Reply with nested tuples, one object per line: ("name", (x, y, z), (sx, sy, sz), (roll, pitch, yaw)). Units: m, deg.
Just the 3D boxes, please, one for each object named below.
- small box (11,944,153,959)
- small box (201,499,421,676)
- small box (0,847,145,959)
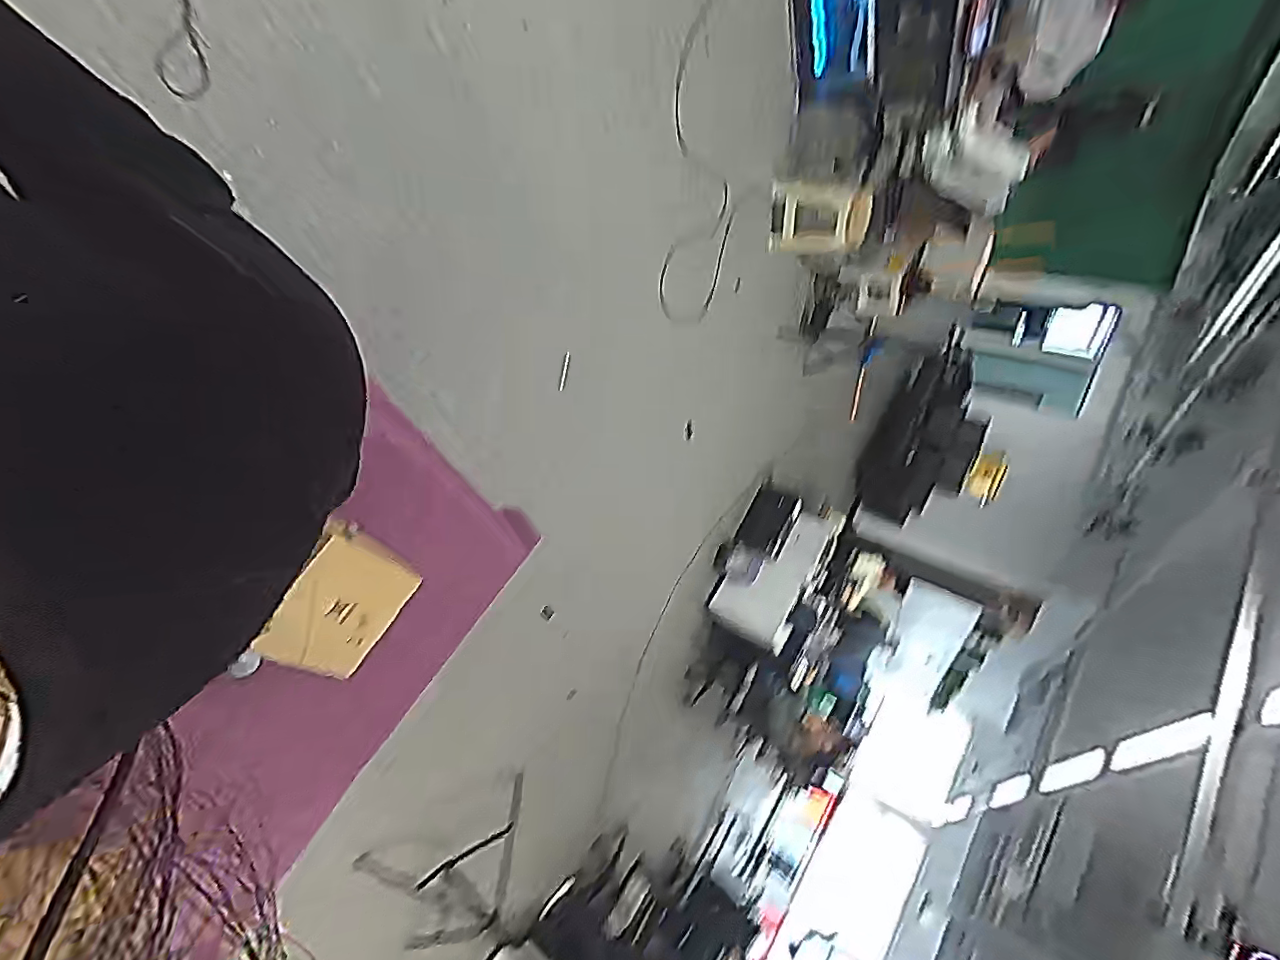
("small box", (-0.618, 0.614, 0.538), (0.168, 0.176, 0.179), (-54, 146, -20))
("small box", (-0.464, 0.147, 0.770), (0.168, 0.176, 0.179), (-56, 148, -16))
("small box", (-0.748, 0.556, 0.620), (0.168, 0.176, 0.179), (-54, 147, -20))
